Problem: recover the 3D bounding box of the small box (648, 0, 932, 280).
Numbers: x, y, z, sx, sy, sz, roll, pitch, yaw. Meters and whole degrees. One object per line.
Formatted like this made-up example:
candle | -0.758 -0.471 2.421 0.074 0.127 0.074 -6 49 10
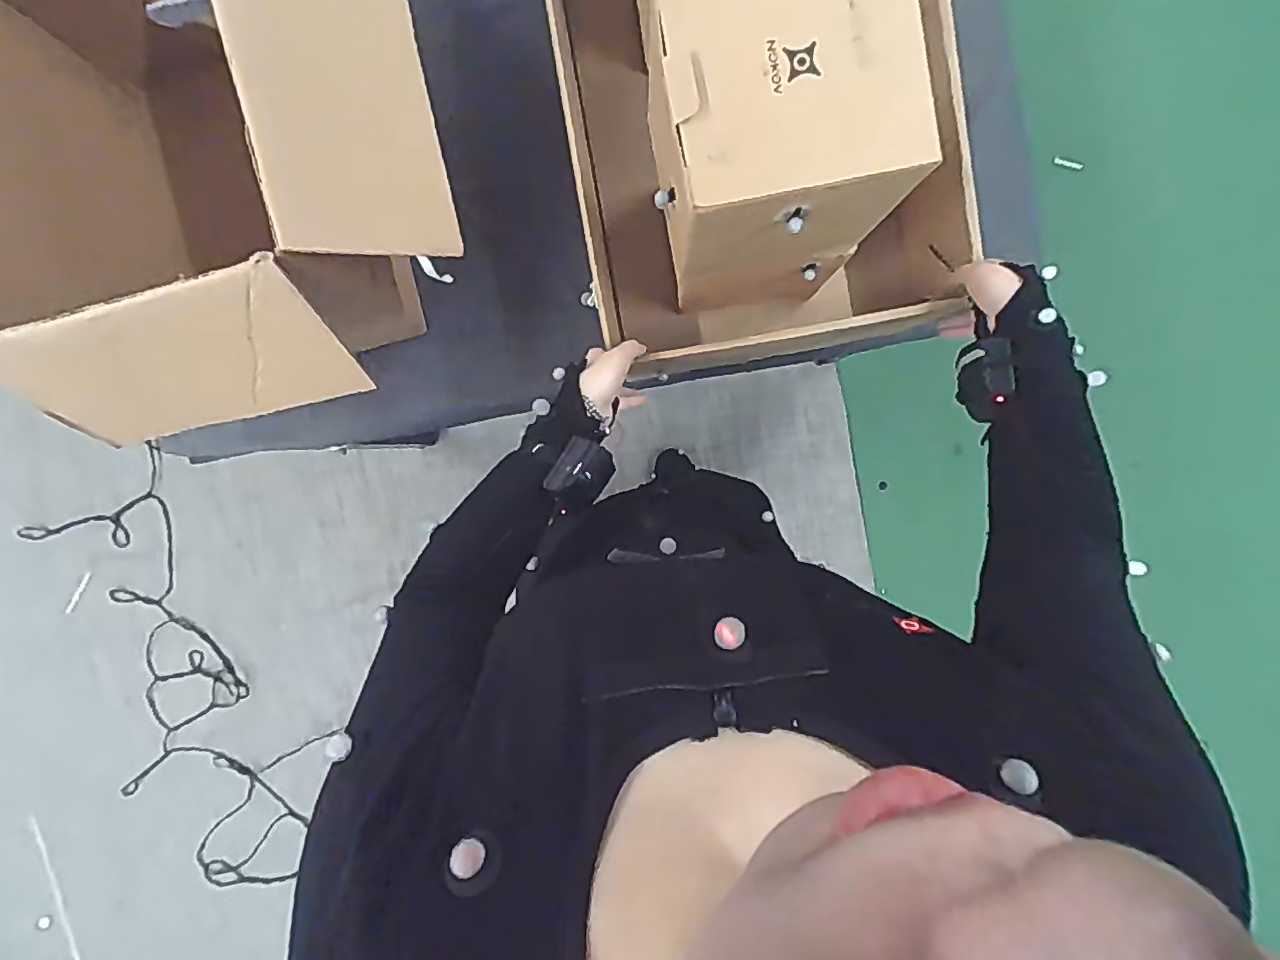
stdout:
small box | 0.106 -0.283 0.453 0.179 0.176 0.168 -11 94 1
